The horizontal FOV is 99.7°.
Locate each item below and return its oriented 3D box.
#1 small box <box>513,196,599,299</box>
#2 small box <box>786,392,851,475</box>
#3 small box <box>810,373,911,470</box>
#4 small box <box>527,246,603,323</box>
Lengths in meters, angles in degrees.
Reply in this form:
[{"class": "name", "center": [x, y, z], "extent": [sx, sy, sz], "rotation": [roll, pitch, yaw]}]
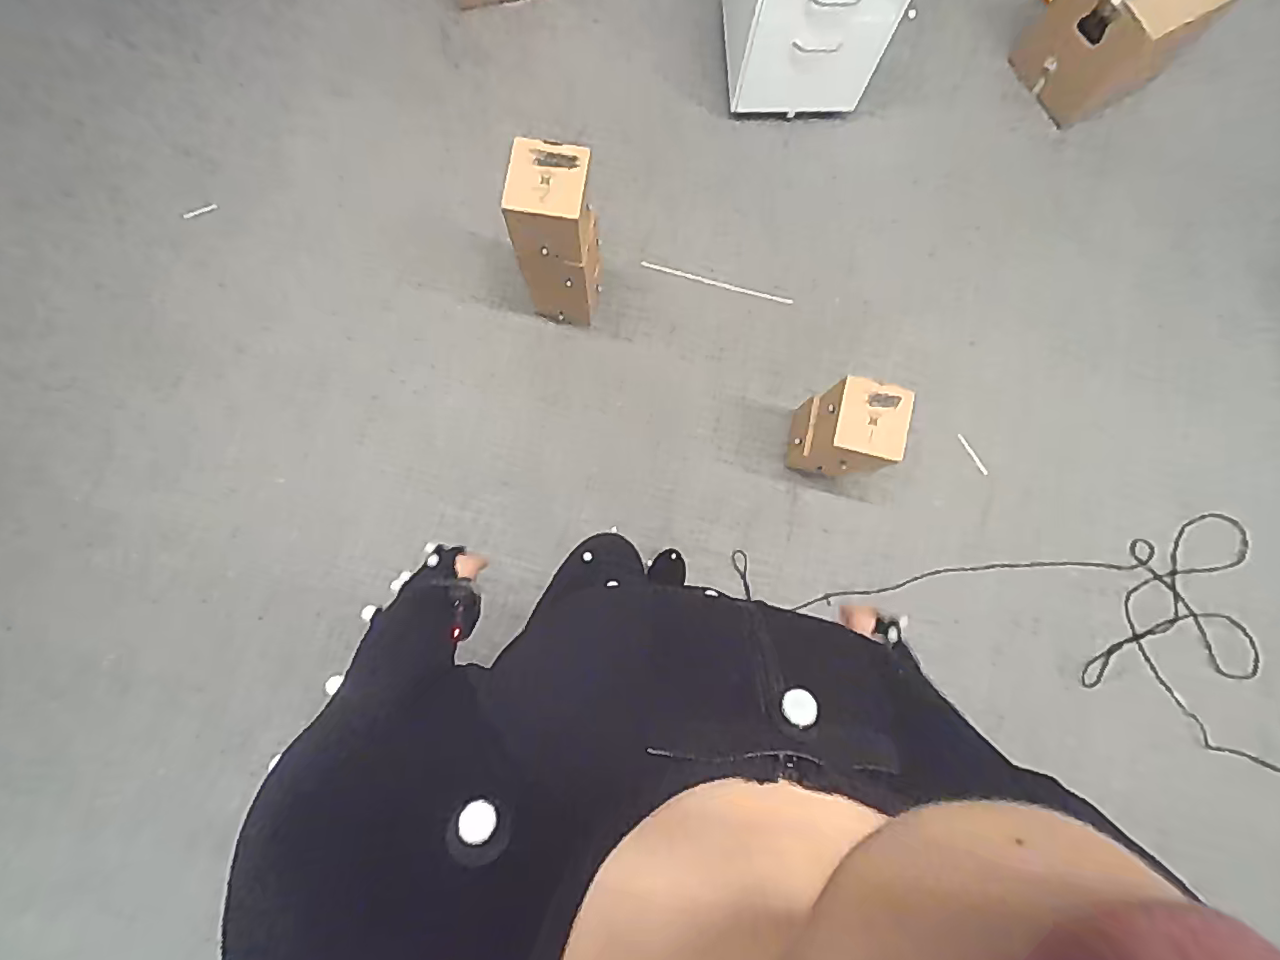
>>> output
[{"class": "small box", "center": [-0.205, -0.587, 1.384], "extent": [0.179, 0.176, 0.168], "rotation": [10, 79, 1]}, {"class": "small box", "center": [0.513, -0.120, 1.489], "extent": [0.168, 0.176, 0.179], "rotation": [13, 81, 0]}, {"class": "small box", "center": [0.532, -0.136, 1.326], "extent": [0.168, 0.176, 0.179], "rotation": [14, 82, 1]}, {"class": "small box", "center": [-0.208, -0.571, 1.547], "extent": [0.179, 0.176, 0.168], "rotation": [13, 80, 0]}]
